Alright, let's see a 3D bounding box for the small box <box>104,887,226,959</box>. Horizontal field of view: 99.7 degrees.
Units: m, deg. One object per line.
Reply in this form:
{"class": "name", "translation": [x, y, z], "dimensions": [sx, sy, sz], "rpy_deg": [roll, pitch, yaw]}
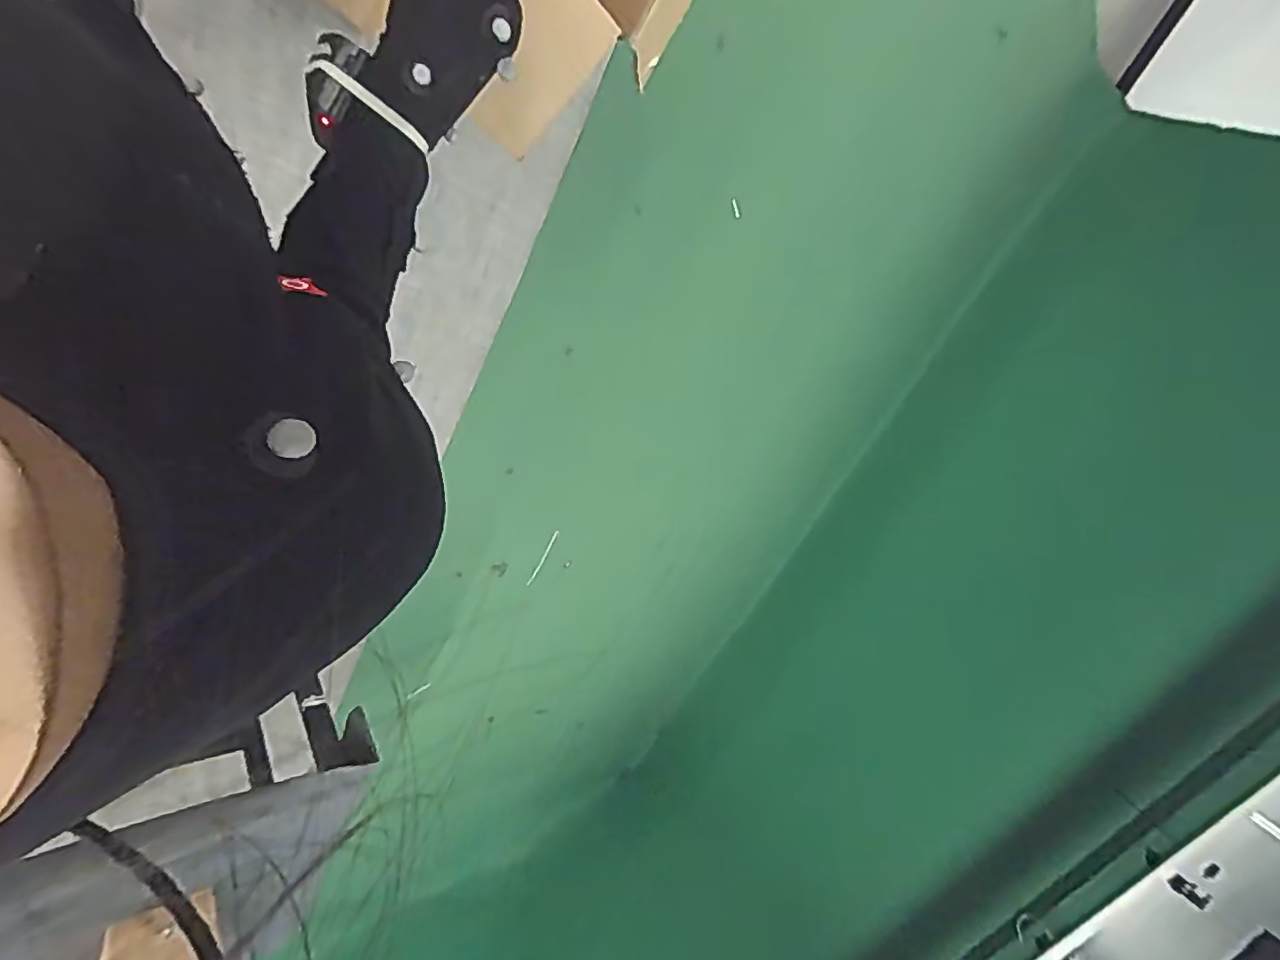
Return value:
{"class": "small box", "translation": [-0.968, 0.985, 1.098], "dimensions": [0.168, 0.176, 0.179], "rpy_deg": [5, 120, -49]}
